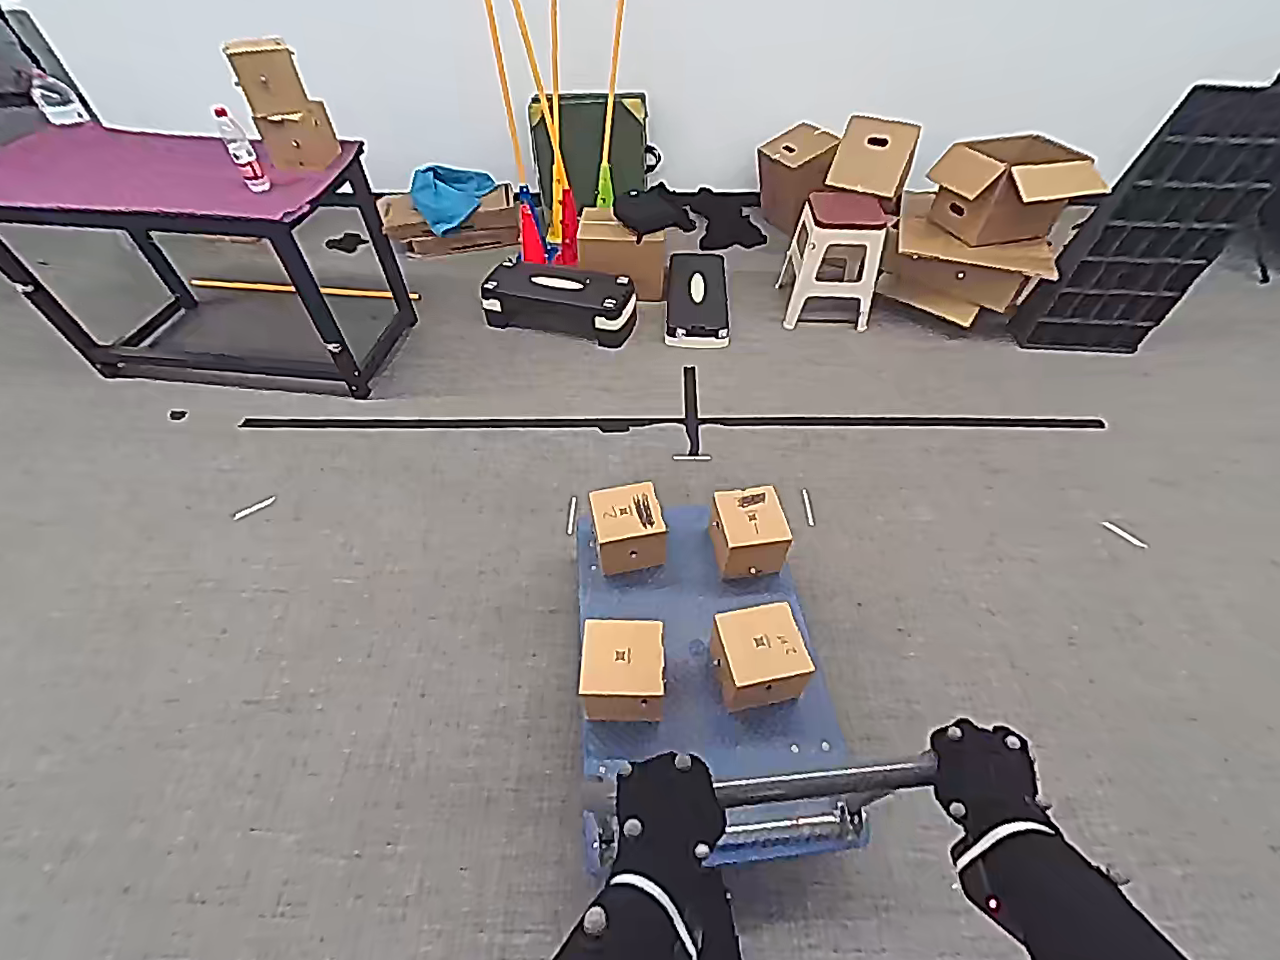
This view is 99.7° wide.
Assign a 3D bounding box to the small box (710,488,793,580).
[{"bbox_3d":[0.290,0.146,1.457,0.168,0.176,0.179,-7,51,-5],"label":"small box"}]

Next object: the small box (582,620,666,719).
[{"bbox_3d":[-0.033,0.430,1.221,0.179,0.176,0.168,1,50,-1],"label":"small box"}]

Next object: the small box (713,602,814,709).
[{"bbox_3d":[0.270,0.406,1.239,0.179,0.176,0.168,-9,51,-7],"label":"small box"}]
